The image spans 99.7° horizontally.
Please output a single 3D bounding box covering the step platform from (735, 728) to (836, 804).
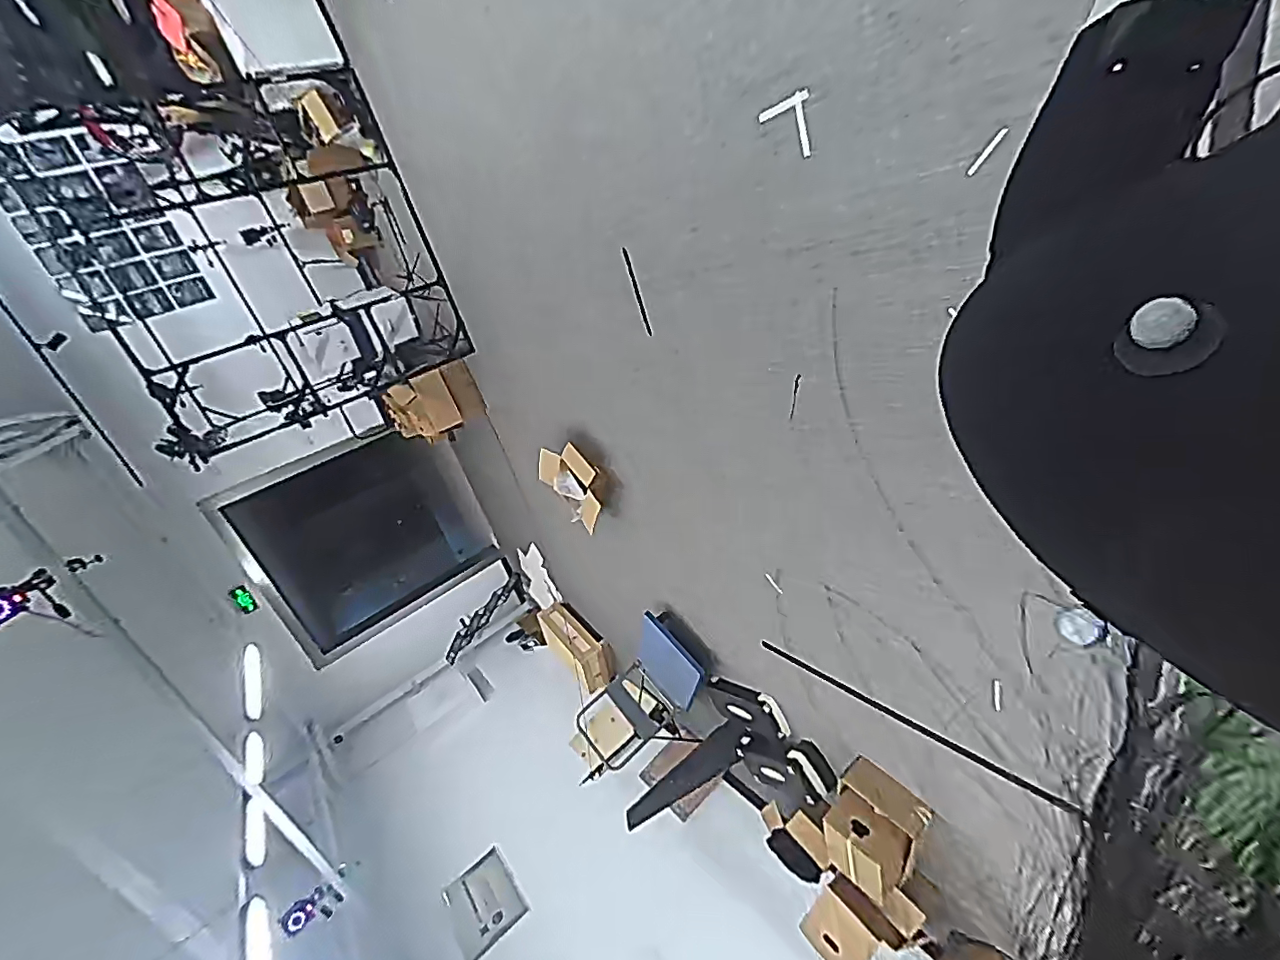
[{"bbox_3d":[0.884,1.781,3.388,0.286,0.204,0.684,57,152,2],"label":"step platform"}]
